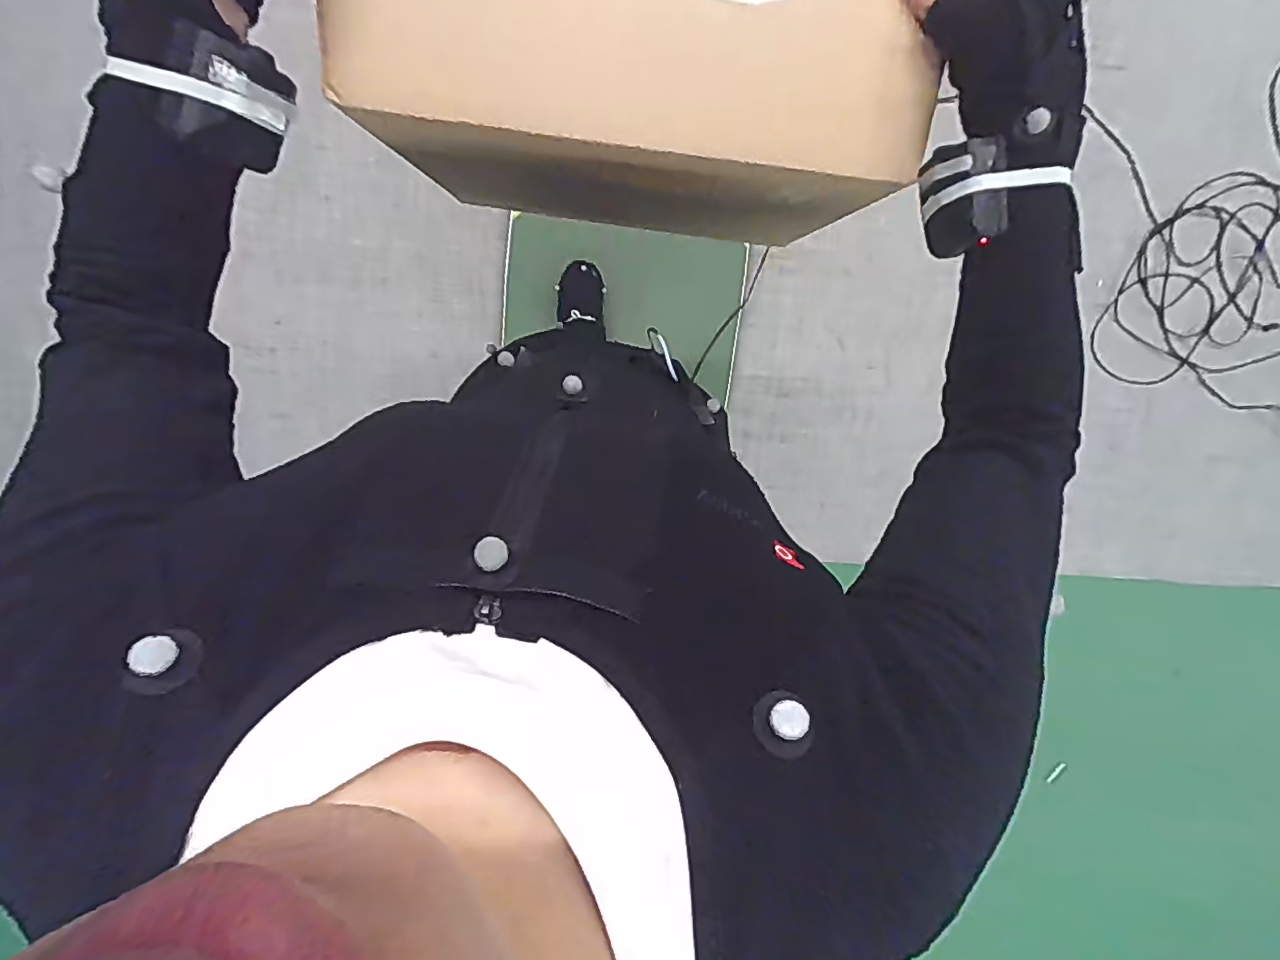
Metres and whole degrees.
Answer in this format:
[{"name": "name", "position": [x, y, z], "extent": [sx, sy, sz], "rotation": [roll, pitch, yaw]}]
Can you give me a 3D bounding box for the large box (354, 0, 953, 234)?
[{"name": "large box", "position": [0.012, -0.428, 0.481], "extent": [0.408, 0.320, 0.320], "rotation": [5, 106, -5]}]
